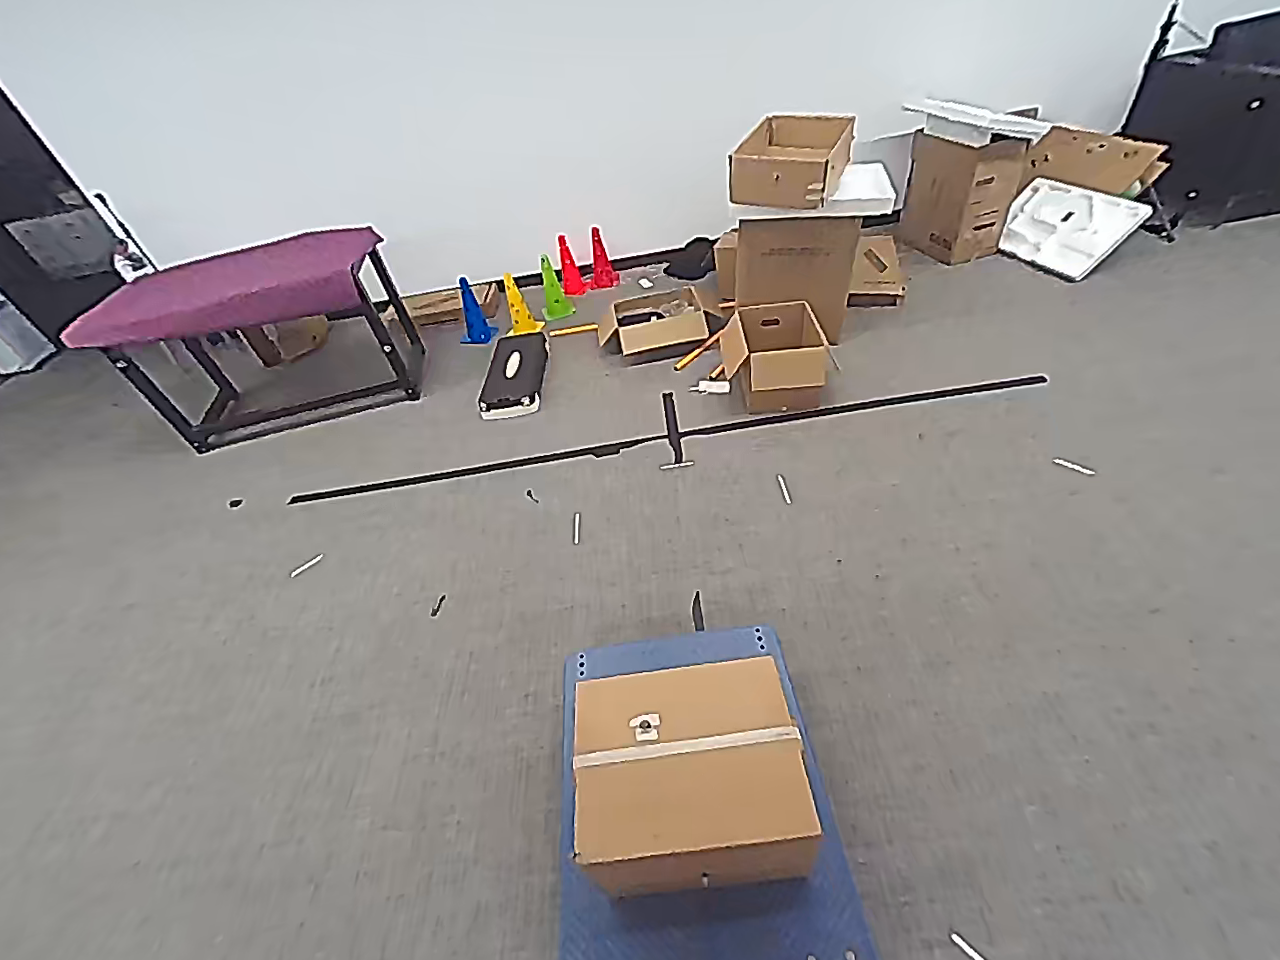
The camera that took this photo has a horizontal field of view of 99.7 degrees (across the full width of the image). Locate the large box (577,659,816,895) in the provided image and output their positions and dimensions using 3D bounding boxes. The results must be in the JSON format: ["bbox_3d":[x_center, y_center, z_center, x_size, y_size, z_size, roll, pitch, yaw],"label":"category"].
[{"bbox_3d":[0.105,0.605,1.096,0.408,0.320,0.320,-10,43,3],"label":"large box"}]
